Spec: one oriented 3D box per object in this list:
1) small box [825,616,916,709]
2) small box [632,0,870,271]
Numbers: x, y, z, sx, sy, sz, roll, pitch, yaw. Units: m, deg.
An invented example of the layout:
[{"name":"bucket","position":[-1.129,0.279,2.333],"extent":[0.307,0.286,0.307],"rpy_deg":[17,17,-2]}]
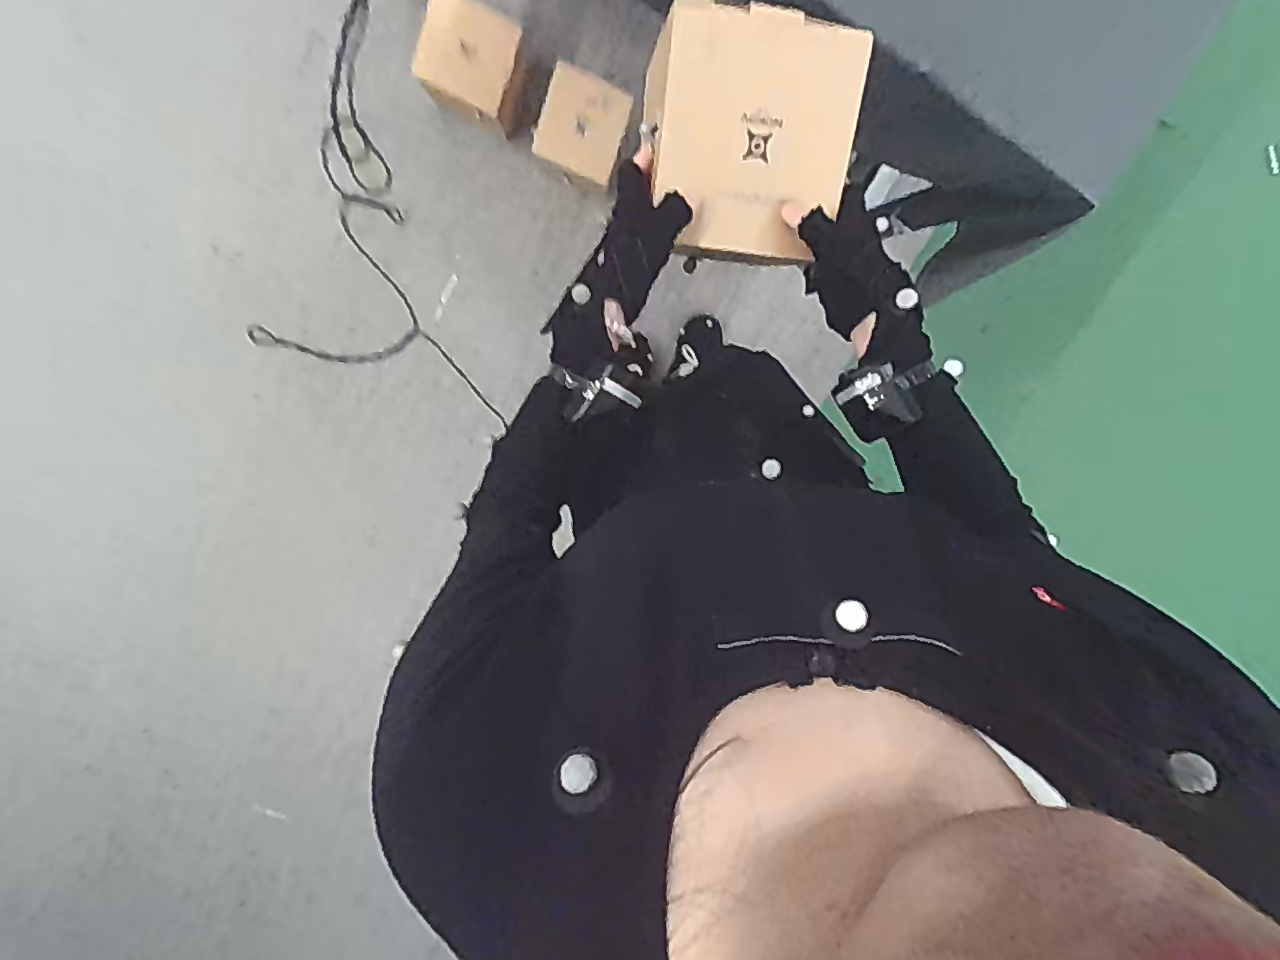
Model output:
[{"name":"small box","position":[0.698,0.557,1.668],"extent":[0.168,0.176,0.179],"rpy_deg":[29,103,-13]},{"name":"small box","position":[0.087,-0.307,0.525],"extent":[0.168,0.176,0.179],"rpy_deg":[4,110,-8]}]
